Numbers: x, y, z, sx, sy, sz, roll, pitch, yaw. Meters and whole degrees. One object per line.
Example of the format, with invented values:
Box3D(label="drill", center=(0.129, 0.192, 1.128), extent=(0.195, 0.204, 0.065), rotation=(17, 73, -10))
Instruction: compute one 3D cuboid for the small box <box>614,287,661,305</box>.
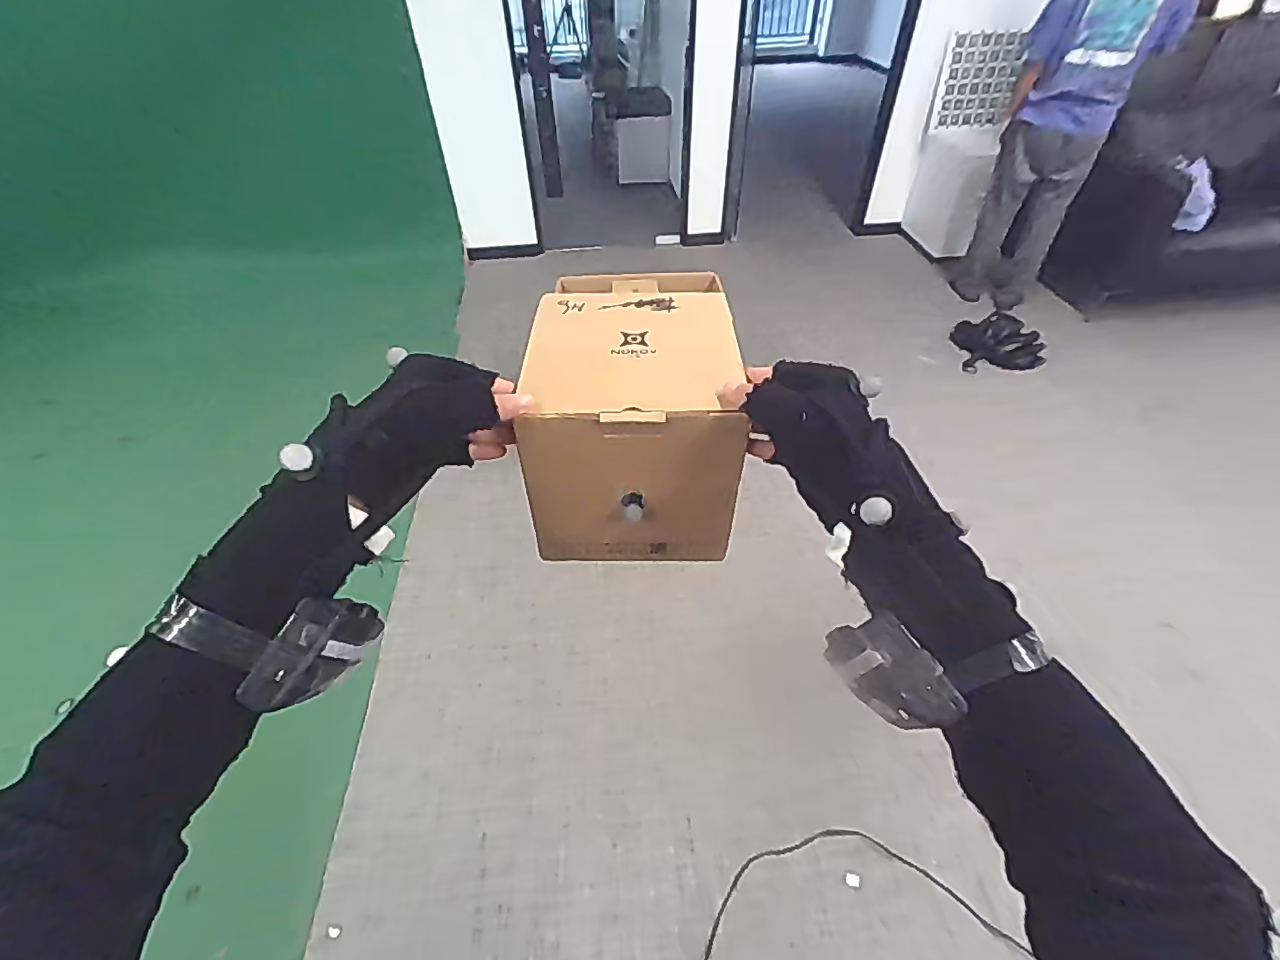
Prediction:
Box3D(label="small box", center=(-0.010, -0.595, 1.994), extent=(0.168, 0.176, 0.179), rotation=(-2, 42, -3))

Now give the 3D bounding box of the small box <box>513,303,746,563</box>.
Box3D(label="small box", center=(-0.005, -0.040, 0.485), extent=(0.168, 0.176, 0.179), rotation=(0, 45, 0))
